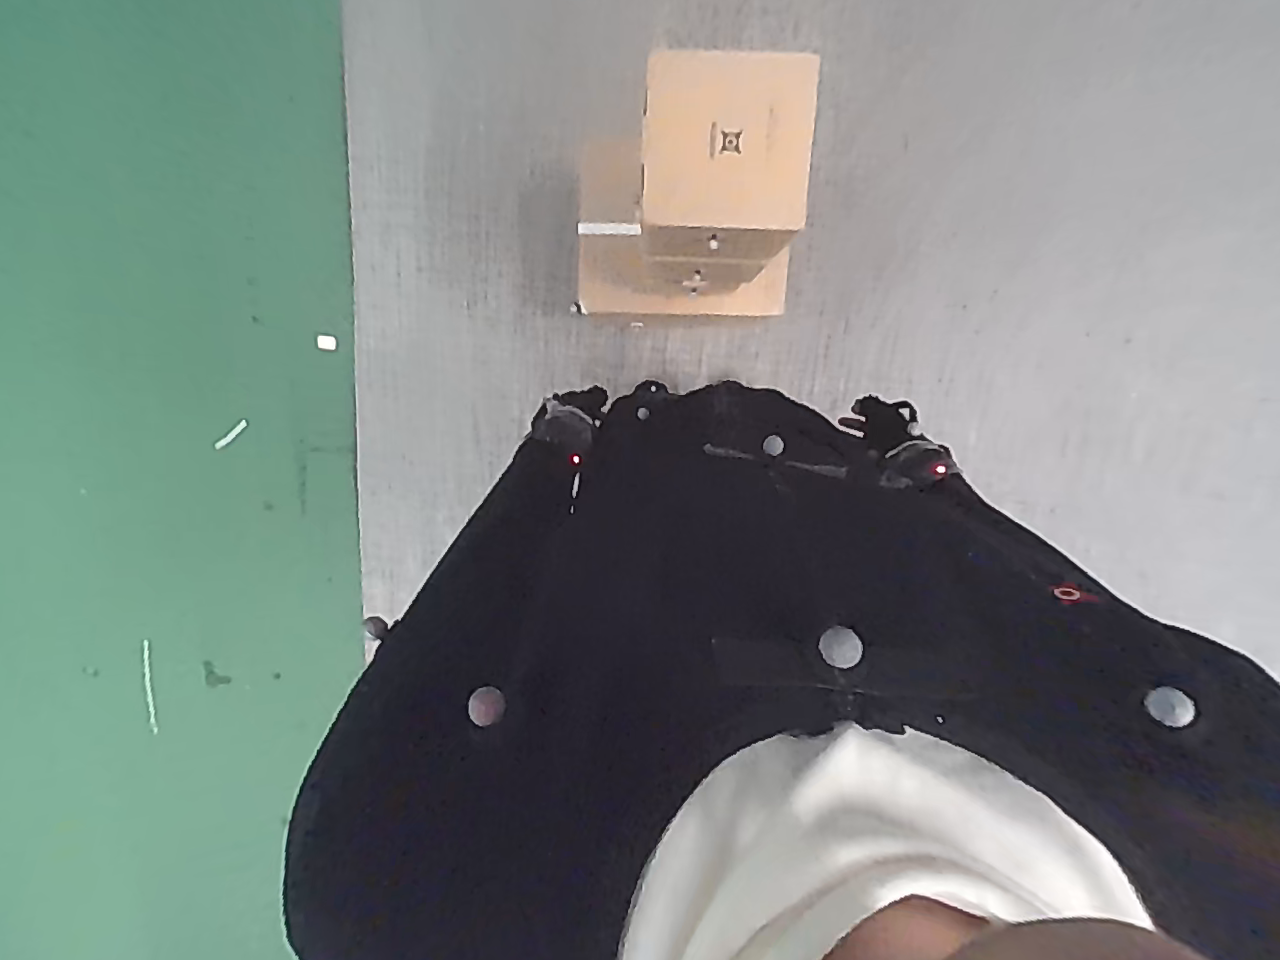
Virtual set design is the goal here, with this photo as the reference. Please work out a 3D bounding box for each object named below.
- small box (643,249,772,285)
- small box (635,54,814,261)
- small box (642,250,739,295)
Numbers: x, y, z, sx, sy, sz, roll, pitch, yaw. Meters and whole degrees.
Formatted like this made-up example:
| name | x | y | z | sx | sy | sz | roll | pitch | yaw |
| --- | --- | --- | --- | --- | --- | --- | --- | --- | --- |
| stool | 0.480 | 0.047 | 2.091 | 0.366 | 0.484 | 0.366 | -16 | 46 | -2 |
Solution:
| name | x | y | z | sx | sy | sz | roll | pitch | yaw |
| --- | --- | --- | --- | --- | --- | --- | --- | --- | --- |
| small box | 0.093 | -0.387 | 0.798 | 0.179 | 0.176 | 0.168 | -1 | 102 | 2 |
| small box | 0.087 | -0.362 | 0.638 | 0.179 | 0.176 | 0.168 | 2 | 102 | 1 |
| small box | 0.091 | -0.426 | 0.958 | 0.168 | 0.176 | 0.179 | 0 | 102 | 2 |
